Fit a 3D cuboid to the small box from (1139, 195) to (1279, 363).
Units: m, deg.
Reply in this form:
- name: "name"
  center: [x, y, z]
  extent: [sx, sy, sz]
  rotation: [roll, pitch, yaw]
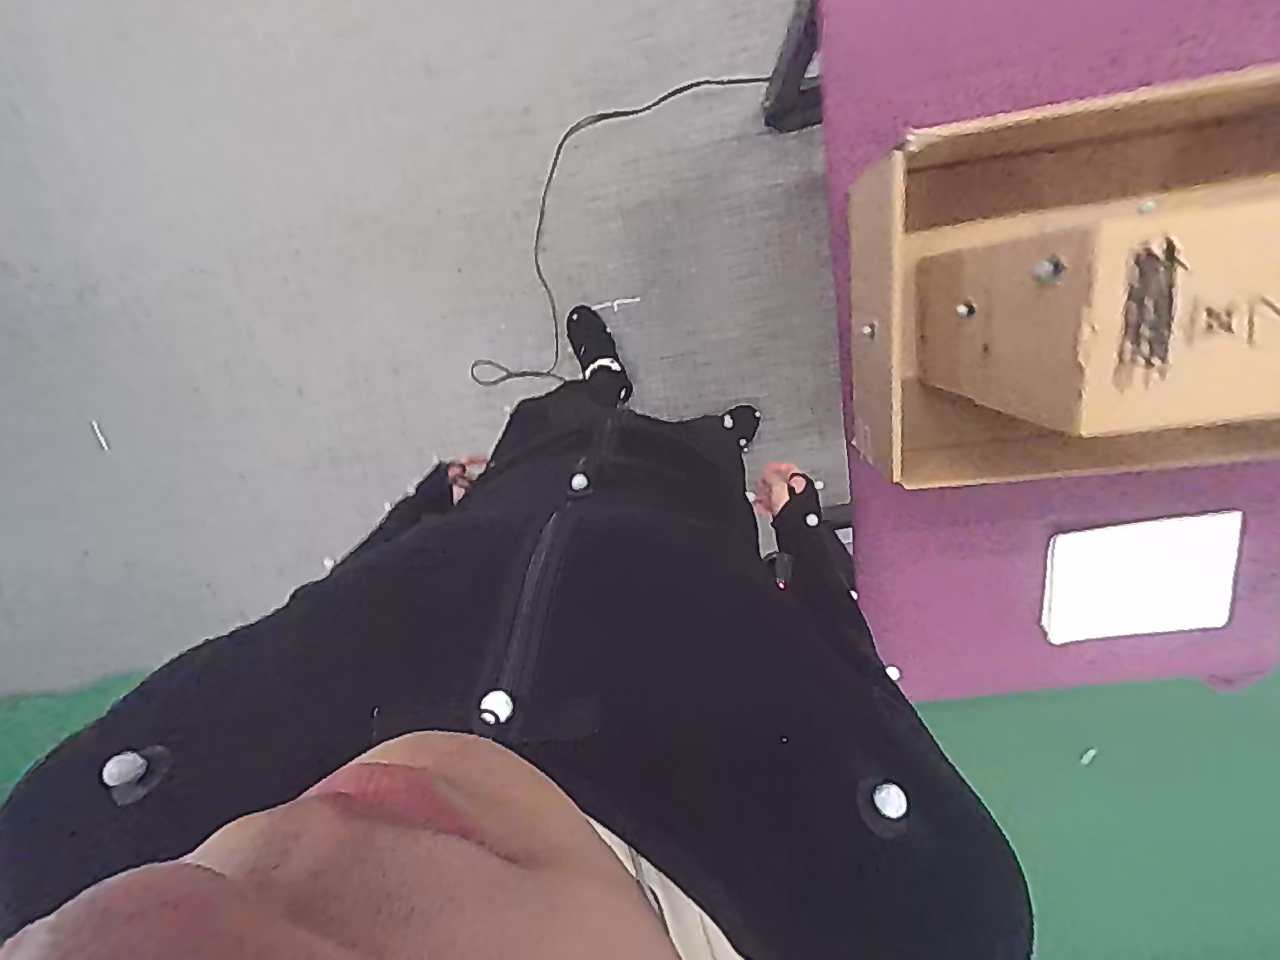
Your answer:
- name: "small box"
  center: [0.732, -0.236, 0.612]
  extent: [0.179, 0.176, 0.168]
  rotation: [-8, 107, 10]
